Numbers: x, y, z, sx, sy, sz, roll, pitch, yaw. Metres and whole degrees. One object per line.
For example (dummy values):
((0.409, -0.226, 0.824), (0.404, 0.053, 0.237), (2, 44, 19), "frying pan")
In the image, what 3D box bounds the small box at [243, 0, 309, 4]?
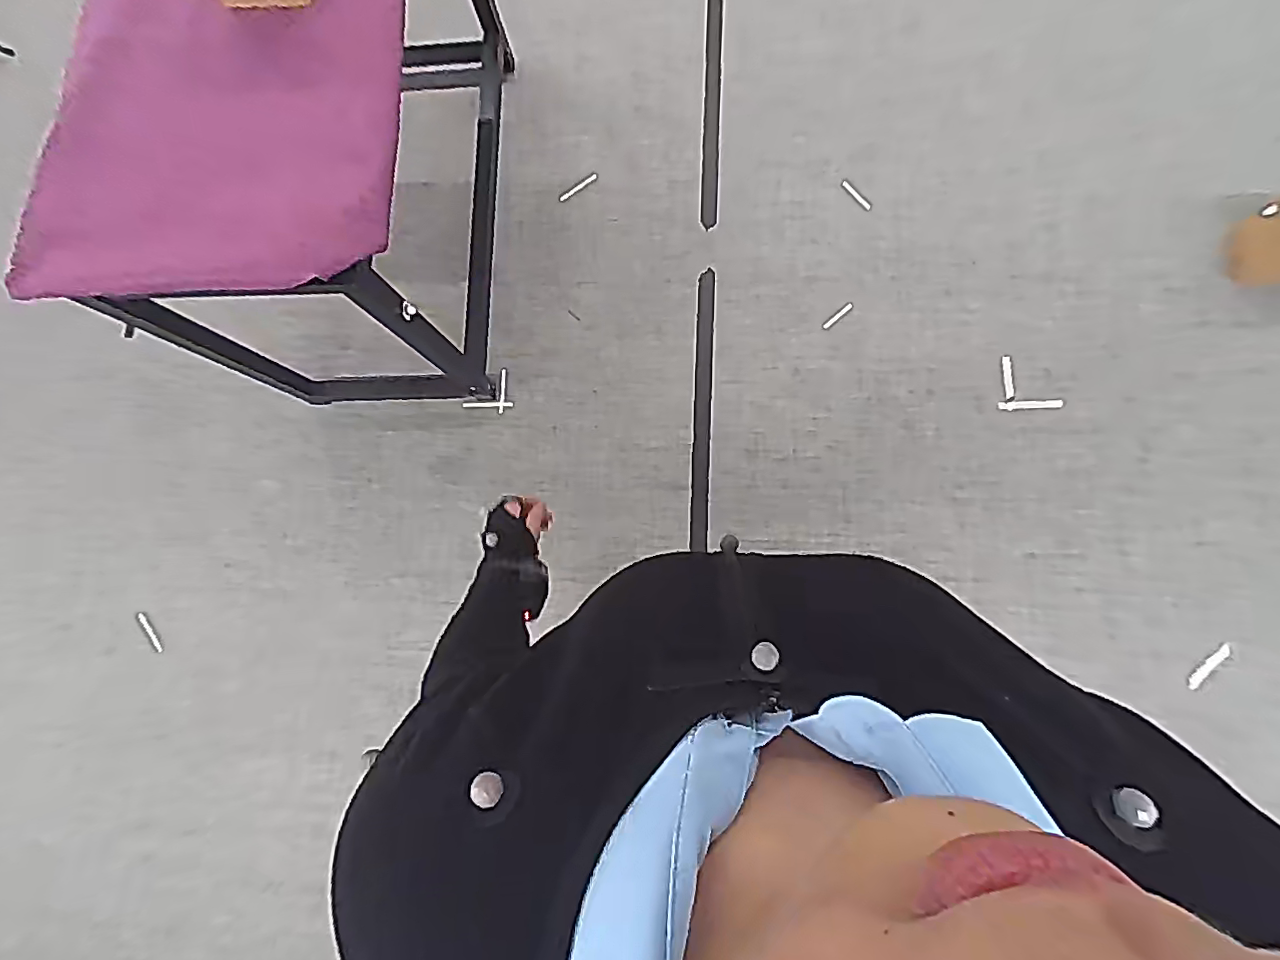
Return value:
((-0.683, -0.975, 0.937), (0.168, 0.176, 0.179), (3, 81, 4), "small box")
